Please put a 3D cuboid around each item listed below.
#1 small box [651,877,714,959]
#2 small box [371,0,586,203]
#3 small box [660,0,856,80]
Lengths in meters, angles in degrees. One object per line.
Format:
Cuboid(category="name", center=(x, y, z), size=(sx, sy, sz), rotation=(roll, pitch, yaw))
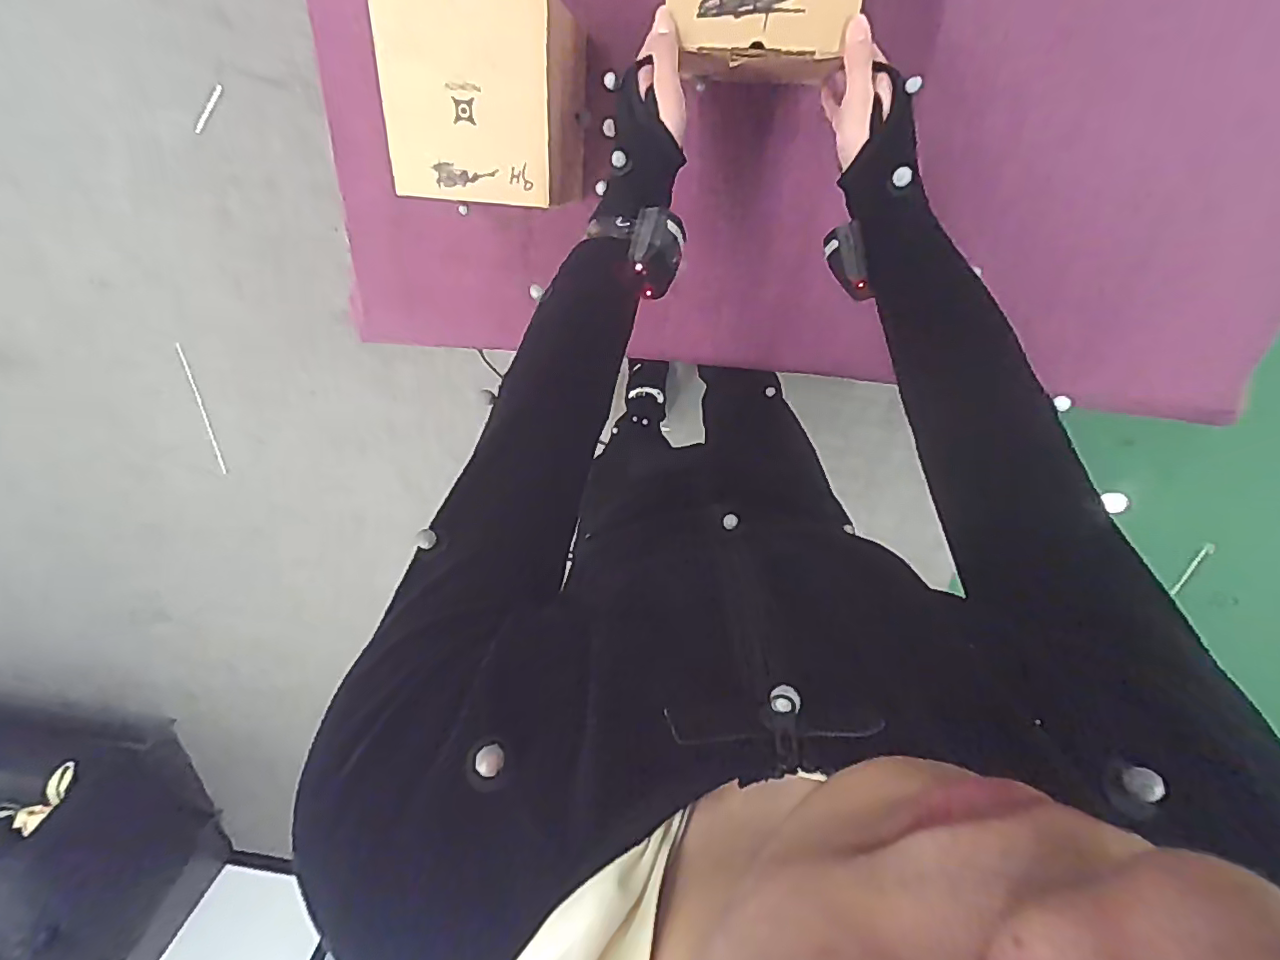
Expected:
Cuboid(category="small box", center=(0.134, 1.392, 1.694), size=(0.168, 0.176, 0.179), rotation=(10, 120, 1))
Cuboid(category="small box", center=(-0.158, -0.404, 0.582), size=(0.168, 0.176, 0.179), rotation=(8, 119, 5))
Cuboid(category="small box", center=(0.113, -0.491, 0.500), size=(0.168, 0.176, 0.179), rotation=(6, 118, 4))
